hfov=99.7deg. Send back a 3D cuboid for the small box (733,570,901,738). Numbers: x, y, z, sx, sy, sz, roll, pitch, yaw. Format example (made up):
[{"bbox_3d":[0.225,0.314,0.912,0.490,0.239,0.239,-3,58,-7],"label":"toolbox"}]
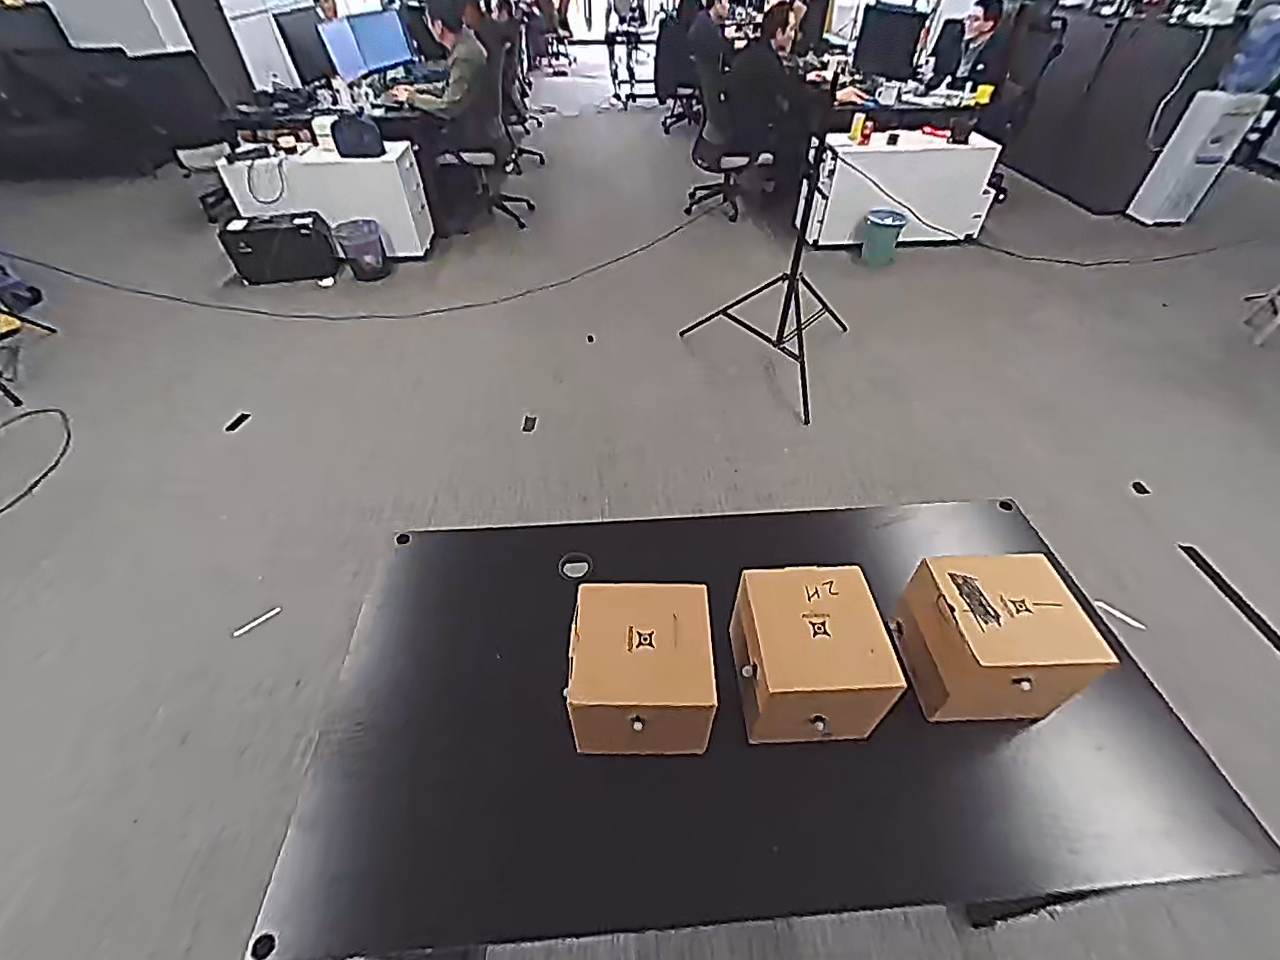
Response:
[{"bbox_3d":[0.230,0.247,0.756,0.168,0.176,0.179,-2,45,-2],"label":"small box"}]

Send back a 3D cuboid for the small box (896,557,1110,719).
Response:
[{"bbox_3d":[0.490,0.228,0.773,0.179,0.176,0.168,-1,45,-1],"label":"small box"}]
